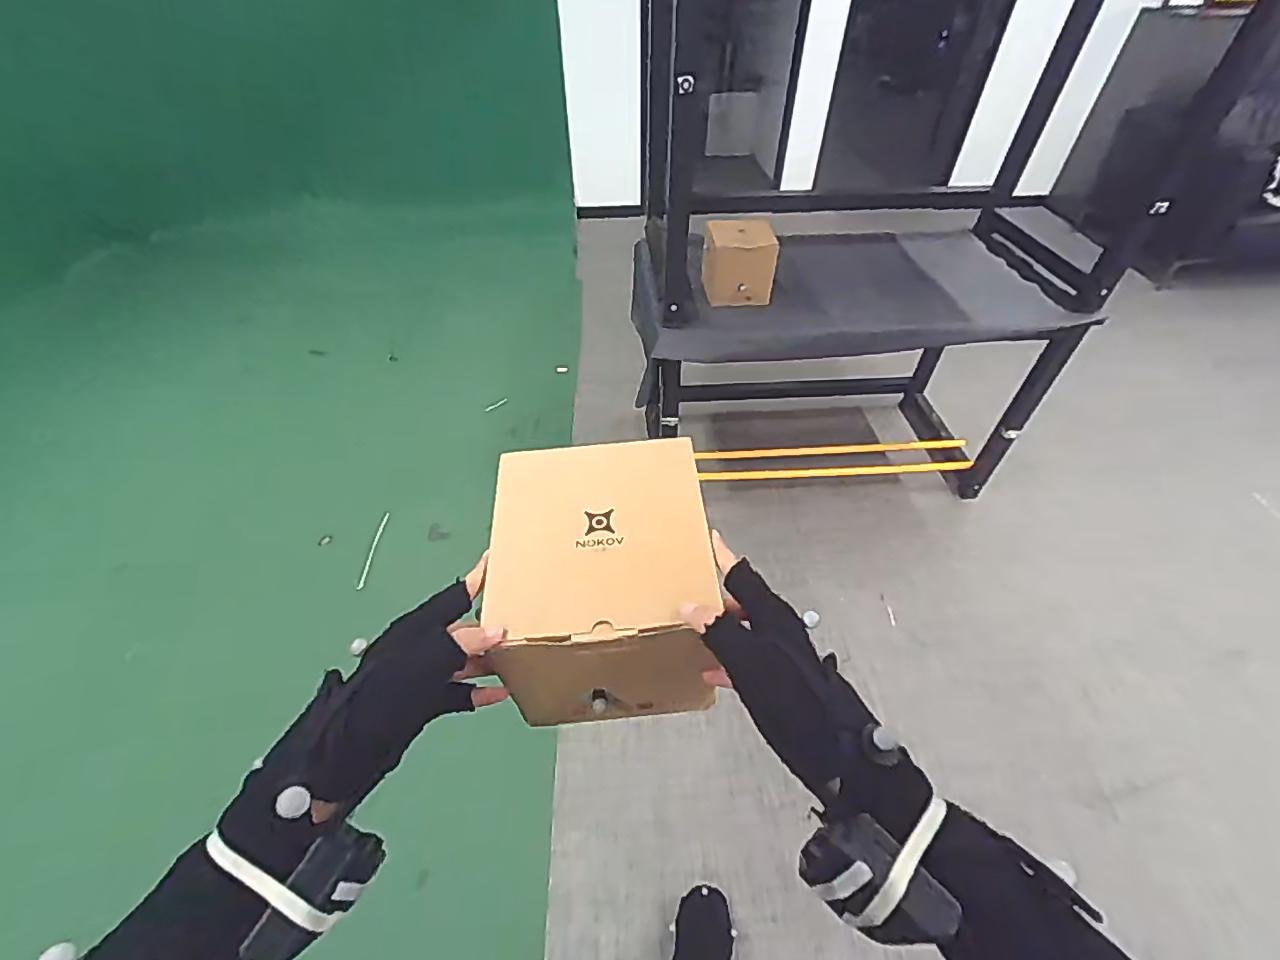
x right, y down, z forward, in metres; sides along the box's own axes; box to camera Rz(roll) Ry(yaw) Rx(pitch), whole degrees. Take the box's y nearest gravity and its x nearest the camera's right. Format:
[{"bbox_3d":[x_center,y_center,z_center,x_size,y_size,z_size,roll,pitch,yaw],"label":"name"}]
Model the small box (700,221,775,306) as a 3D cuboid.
[{"bbox_3d":[0.261,-0.601,1.499,0.168,0.176,0.179,-3,45,-2],"label":"small box"}]
